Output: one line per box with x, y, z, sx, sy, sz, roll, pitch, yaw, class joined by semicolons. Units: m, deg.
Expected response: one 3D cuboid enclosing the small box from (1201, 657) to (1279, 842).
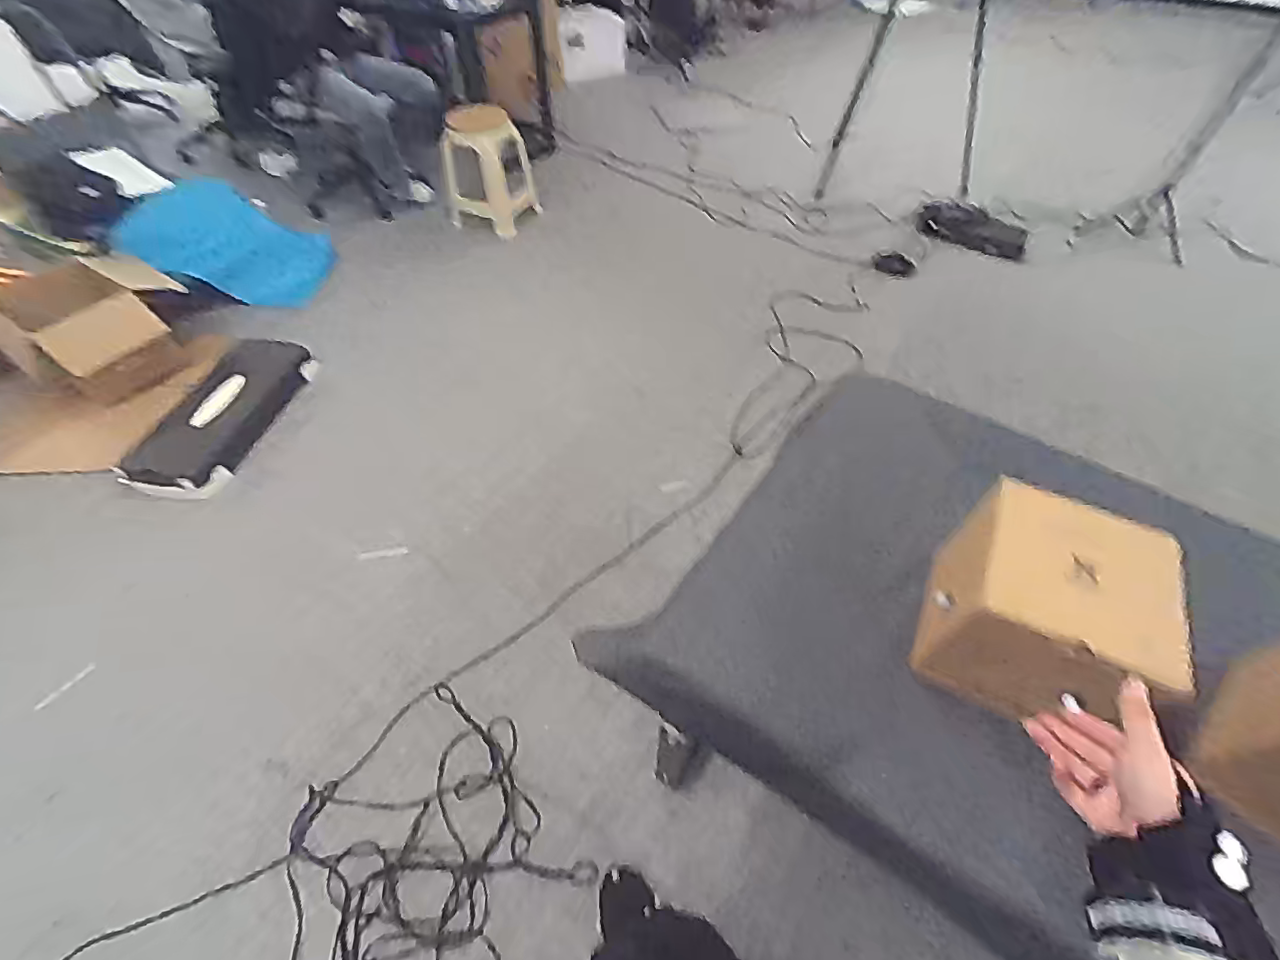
0.678;0.255;0.484;0.179;0.176;0.168;-33;58;-23;small box

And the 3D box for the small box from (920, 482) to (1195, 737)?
0.424;0.140;0.576;0.168;0.176;0.179;24;54;16;small box
